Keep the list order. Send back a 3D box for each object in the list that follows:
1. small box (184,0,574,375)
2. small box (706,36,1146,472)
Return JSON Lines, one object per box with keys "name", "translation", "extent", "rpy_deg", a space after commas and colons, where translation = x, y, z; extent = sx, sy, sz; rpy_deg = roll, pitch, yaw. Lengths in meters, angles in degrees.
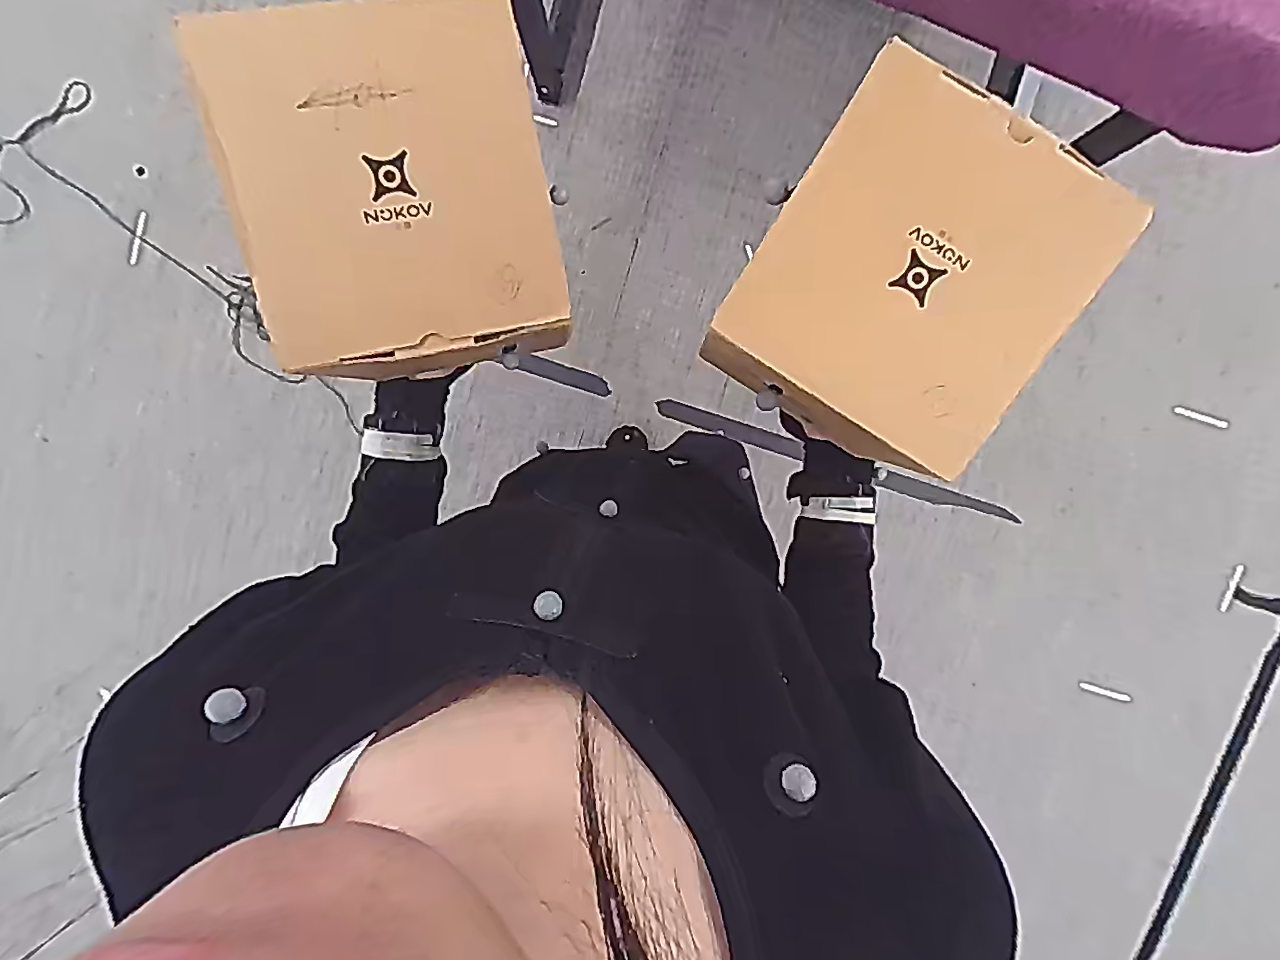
{"name": "small box", "translation": [-0.144, -0.171, 0.370], "extent": [0.168, 0.176, 0.179], "rpy_deg": [-13, 100, -8]}
{"name": "small box", "translation": [0.158, -0.126, 0.372], "extent": [0.168, 0.176, 0.179], "rpy_deg": [32, 97, -1]}
